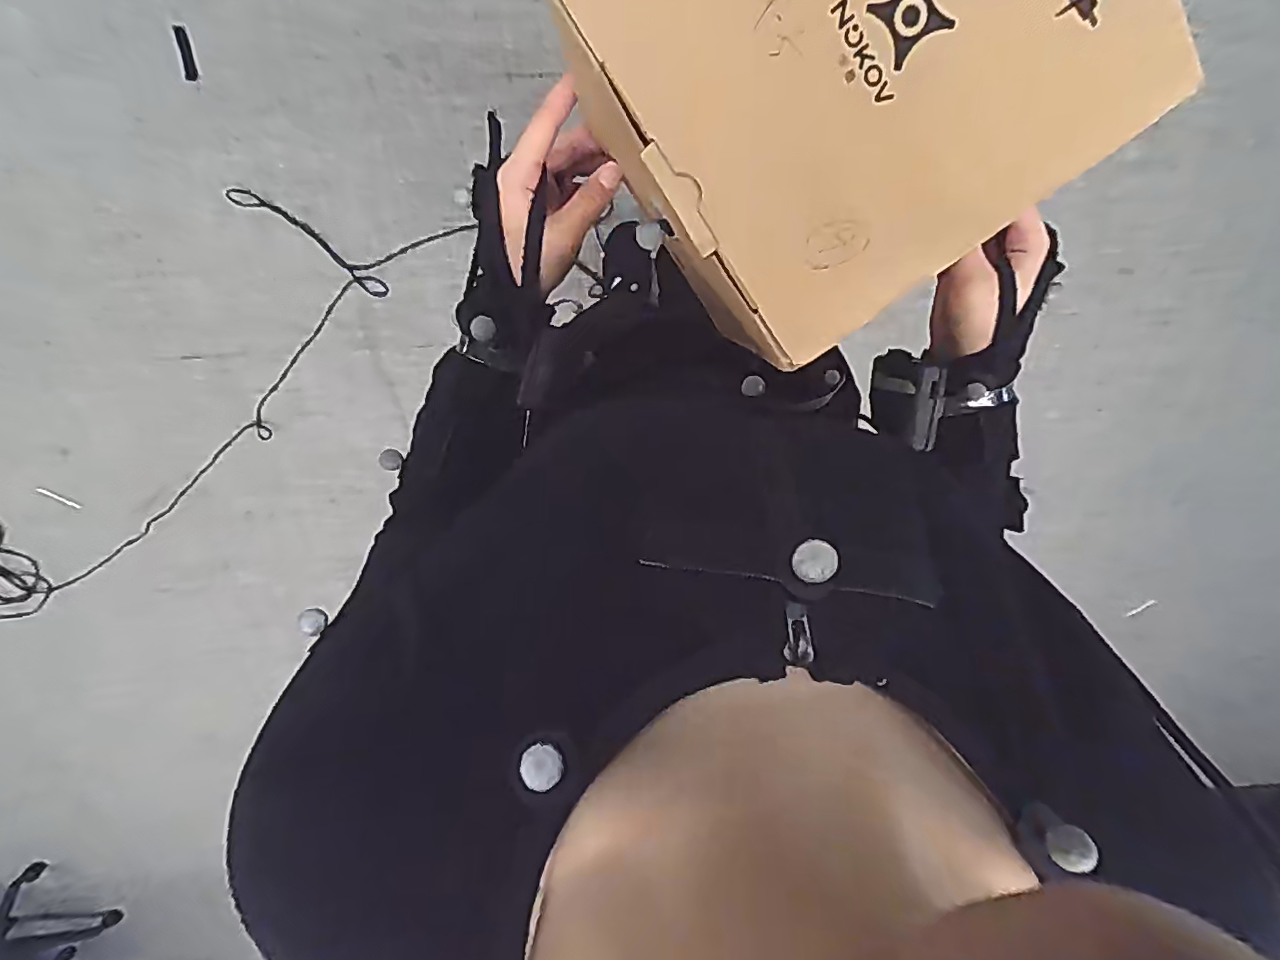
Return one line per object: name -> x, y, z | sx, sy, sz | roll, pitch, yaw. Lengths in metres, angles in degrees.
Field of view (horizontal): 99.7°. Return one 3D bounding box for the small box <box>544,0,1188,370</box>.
small box -> 0.083, -0.179, 0.267 | 0.179, 0.176, 0.168 | -34, 106, 12
